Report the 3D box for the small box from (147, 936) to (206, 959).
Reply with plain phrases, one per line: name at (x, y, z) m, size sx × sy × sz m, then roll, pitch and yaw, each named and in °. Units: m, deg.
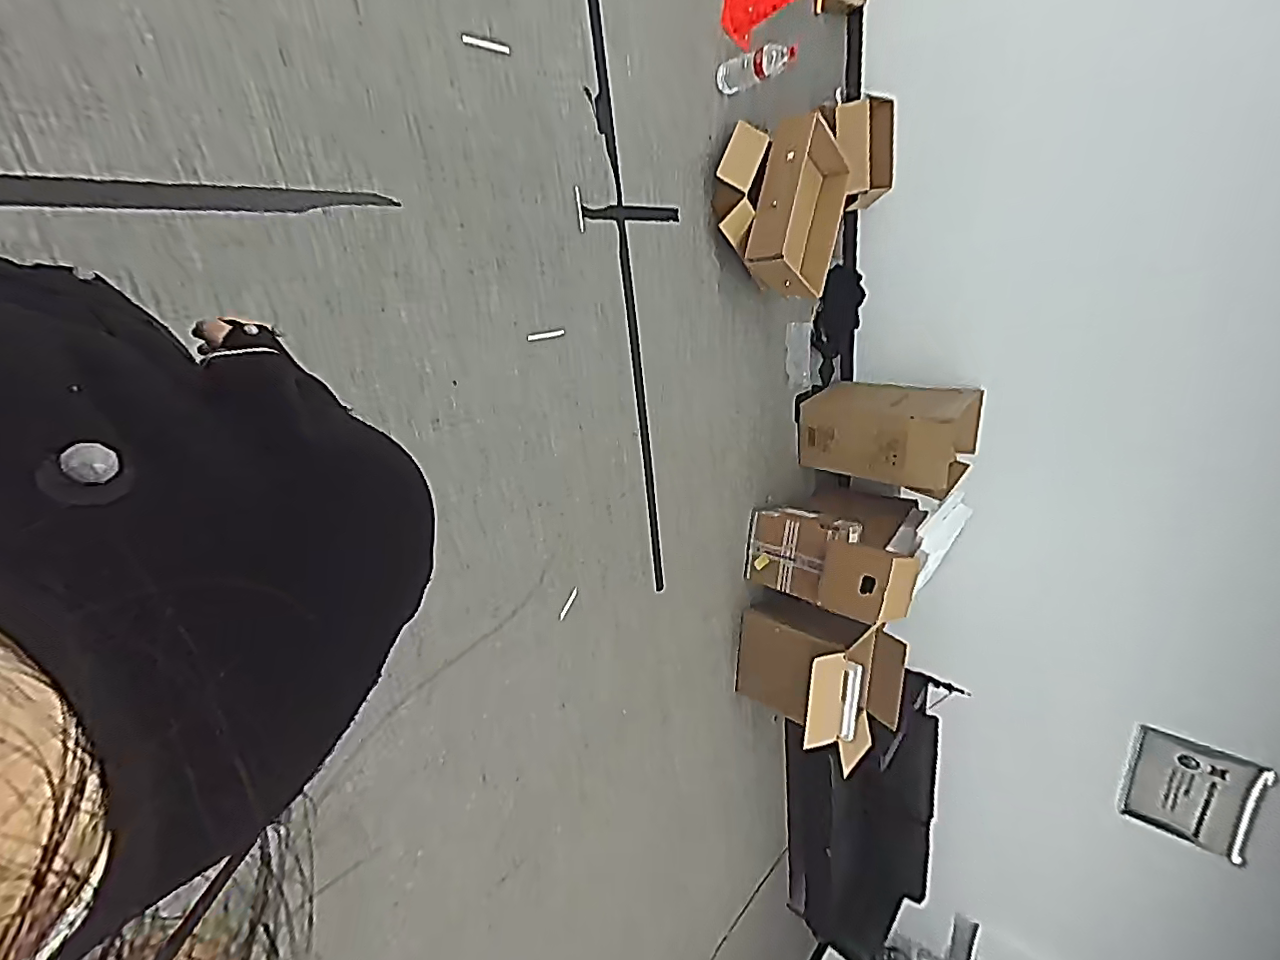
small box at (-1.107, 1.224, 1.256) m, size 0.168 × 0.176 × 0.179 m, roll -27°, pitch 119°, yaw -40°
